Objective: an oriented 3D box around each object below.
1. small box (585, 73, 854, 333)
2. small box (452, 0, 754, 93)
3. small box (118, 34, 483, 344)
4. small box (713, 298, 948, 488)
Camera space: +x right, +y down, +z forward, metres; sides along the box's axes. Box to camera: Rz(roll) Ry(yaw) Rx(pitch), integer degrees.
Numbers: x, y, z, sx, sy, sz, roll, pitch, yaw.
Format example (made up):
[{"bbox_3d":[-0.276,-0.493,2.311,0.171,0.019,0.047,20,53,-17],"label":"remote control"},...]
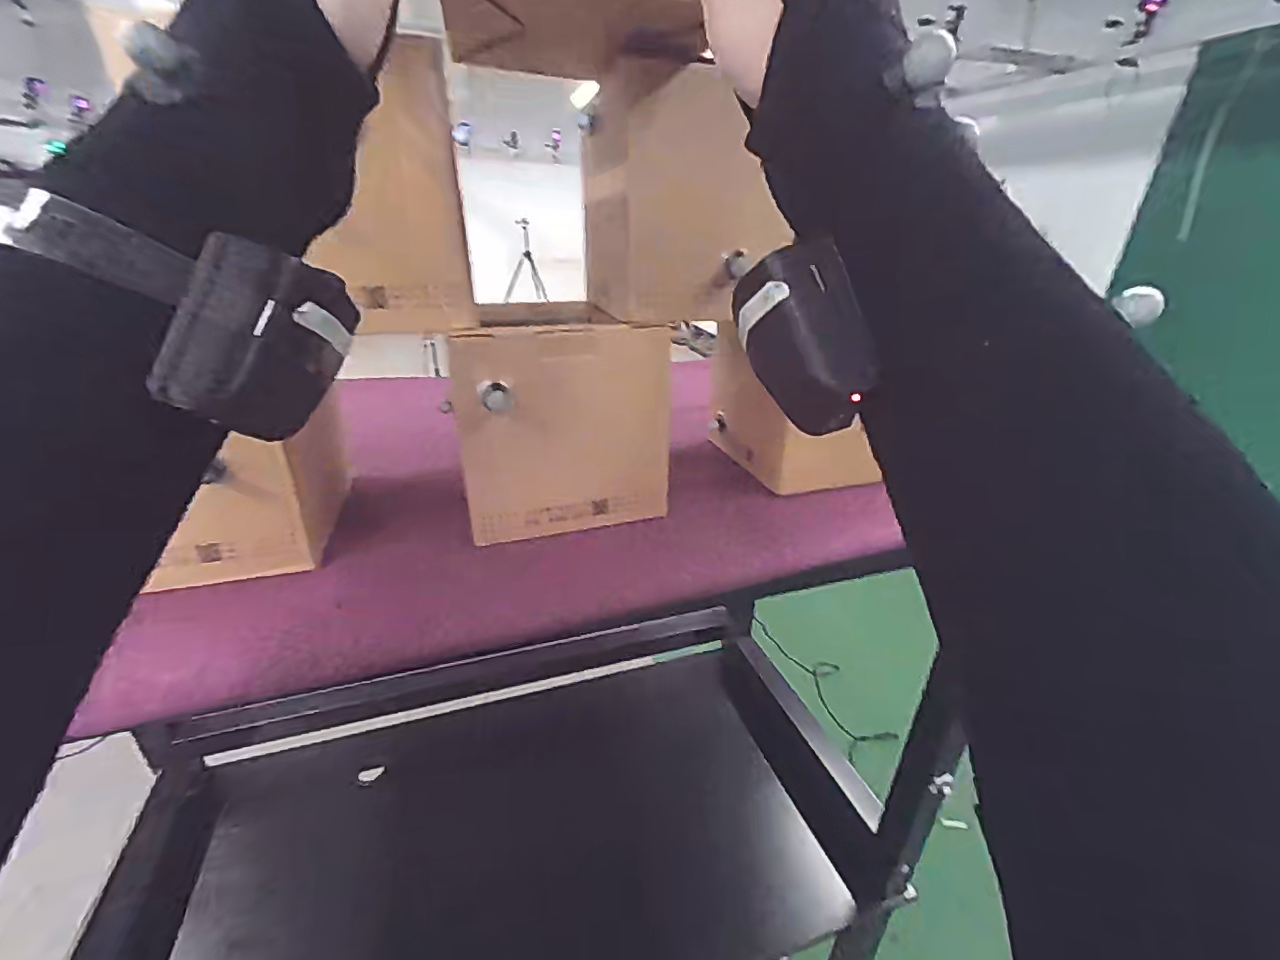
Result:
[{"bbox_3d":[0.051,-0.229,0.475,0.179,0.176,0.168,-6,26,-16],"label":"small box"},{"bbox_3d":[-0.027,-0.350,0.323,0.168,0.176,0.179,-2,24,-15],"label":"small box"},{"bbox_3d":[-0.215,-0.198,0.403,0.168,0.176,0.179,-8,26,-17],"label":"small box"},{"bbox_3d":[0.188,-0.100,0.588,0.179,0.176,0.168,-7,26,-17],"label":"small box"}]
